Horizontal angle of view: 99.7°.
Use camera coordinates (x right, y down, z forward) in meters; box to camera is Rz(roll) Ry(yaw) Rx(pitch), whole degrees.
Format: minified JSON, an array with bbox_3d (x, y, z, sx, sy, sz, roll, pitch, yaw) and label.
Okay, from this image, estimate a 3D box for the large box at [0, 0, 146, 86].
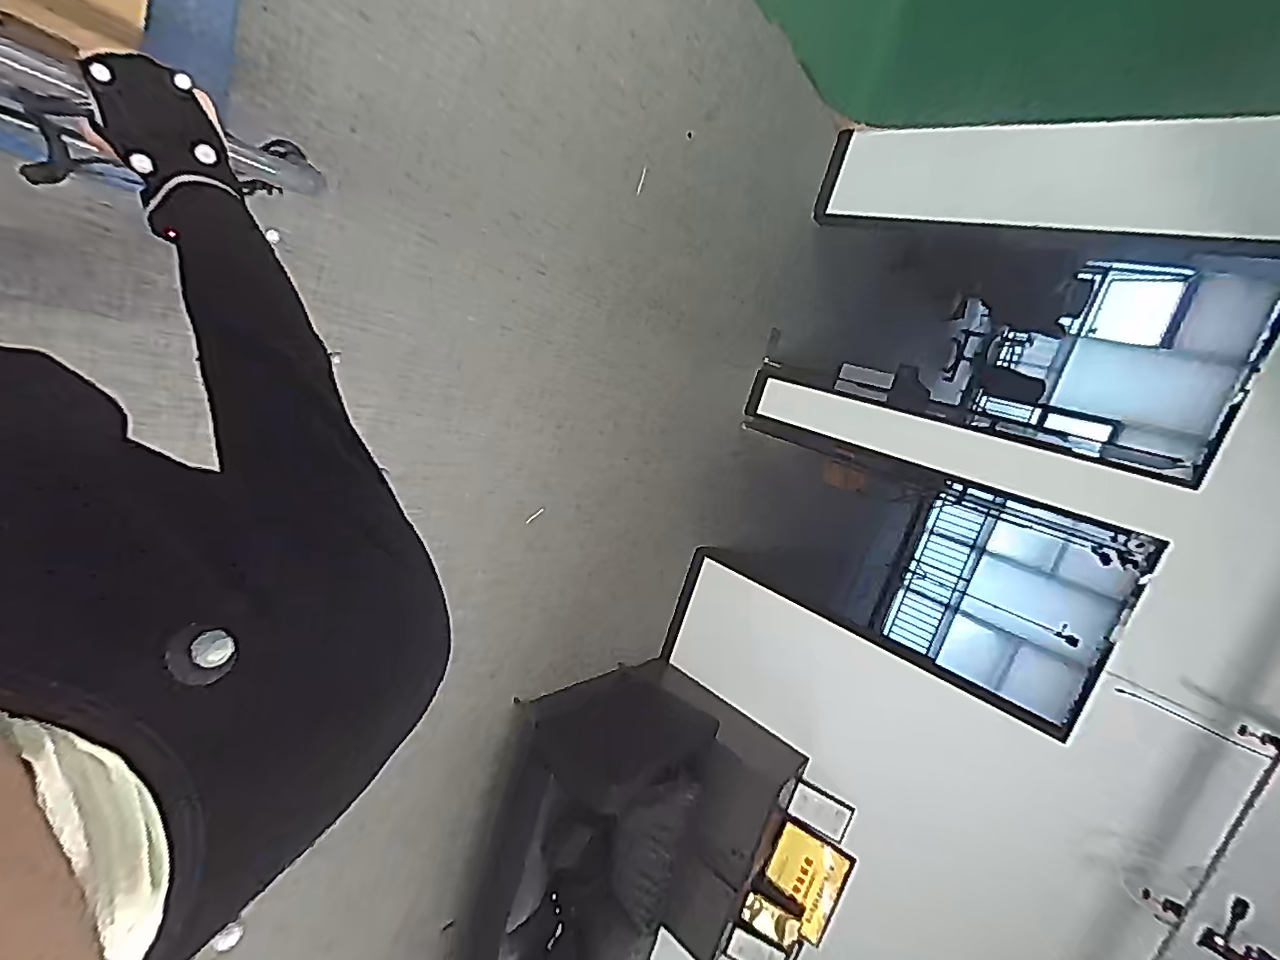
[{"bbox_3d":[-0.844,-0.809,0.680,0.320,0.320,0.408,4,106,-53],"label":"large box"}]
